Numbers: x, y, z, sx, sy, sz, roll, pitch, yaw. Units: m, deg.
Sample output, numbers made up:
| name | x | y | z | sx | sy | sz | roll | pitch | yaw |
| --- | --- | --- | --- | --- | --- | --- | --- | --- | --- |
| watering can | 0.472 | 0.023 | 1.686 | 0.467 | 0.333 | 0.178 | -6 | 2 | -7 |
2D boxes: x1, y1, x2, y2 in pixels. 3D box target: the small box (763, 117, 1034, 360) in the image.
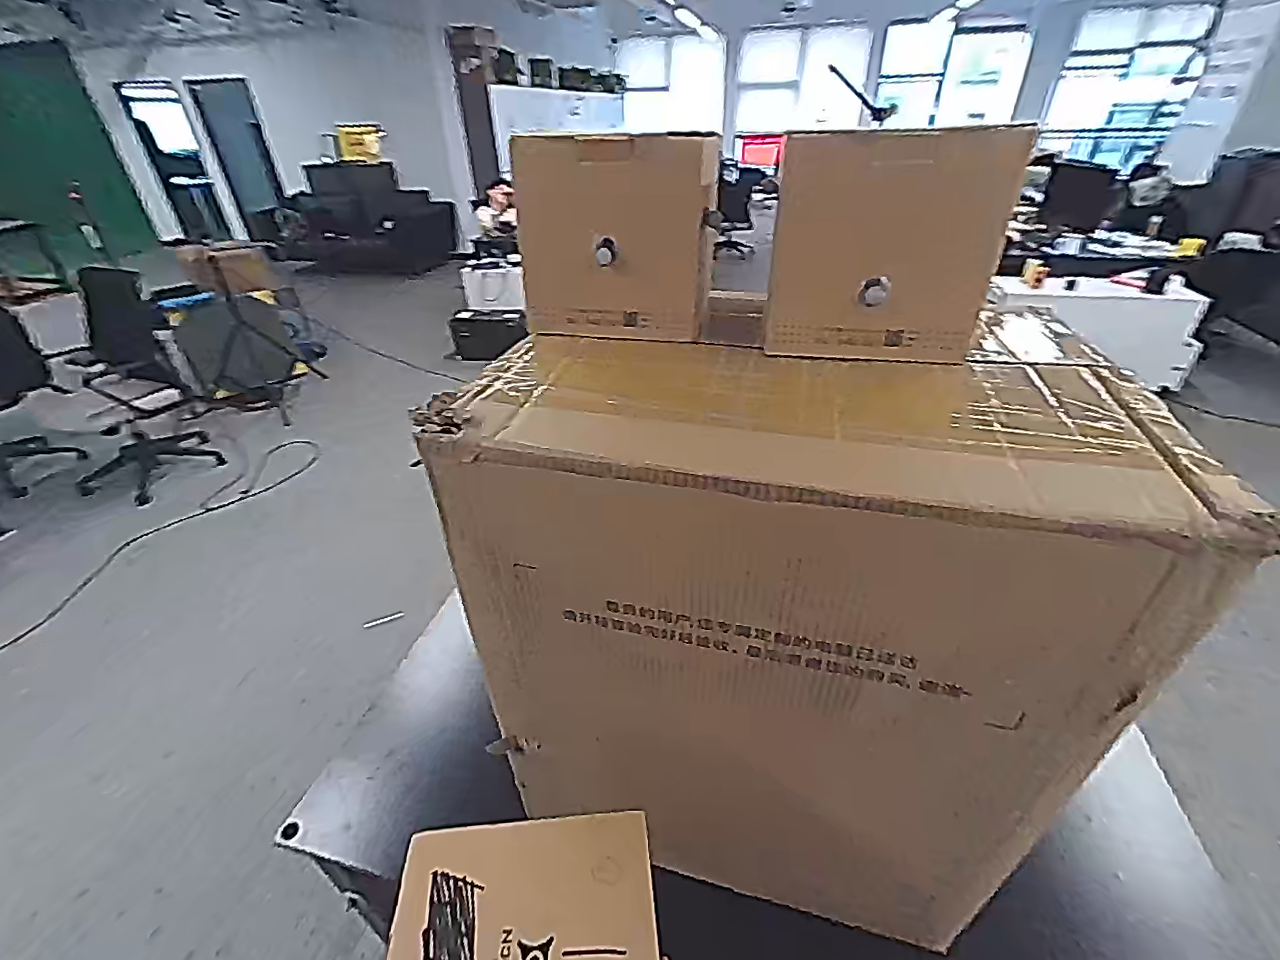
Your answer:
| name | x | y | z | sx | sy | sz | roll | pitch | yaw |
| --- | --- | --- | --- | --- | --- | --- | --- | --- | --- |
| small box | 0.202 | -0.219 | 0.485 | 0.168 | 0.176 | 0.179 | 5 | 33 | 11 |

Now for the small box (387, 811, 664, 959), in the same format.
| name | x | y | z | sx | sy | sz | roll | pitch | yaw |
| --- | --- | --- | --- | --- | --- | --- | --- | --- | --- |
| small box | -0.070 | 0.367 | 0.378 | 0.179 | 0.176 | 0.168 | -3 | 34 | -4 |

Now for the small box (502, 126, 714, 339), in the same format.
| name | x | y | z | sx | sy | sz | roll | pitch | yaw |
| --- | --- | --- | --- | --- | --- | --- | --- | --- | --- |
| small box | -0.017 | -0.248 | 0.540 | 0.168 | 0.176 | 0.179 | 5 | 34 | 9 |
